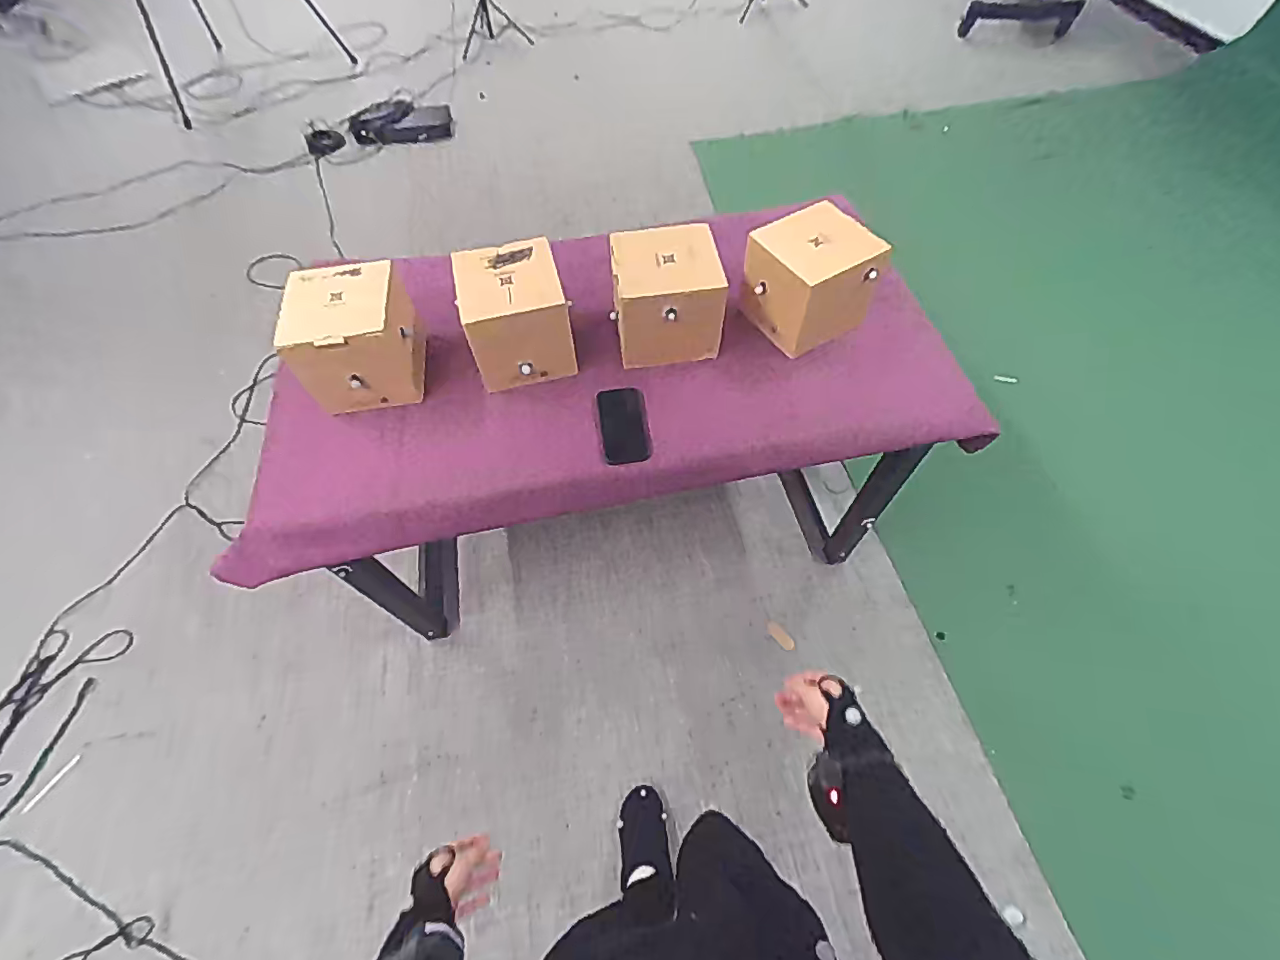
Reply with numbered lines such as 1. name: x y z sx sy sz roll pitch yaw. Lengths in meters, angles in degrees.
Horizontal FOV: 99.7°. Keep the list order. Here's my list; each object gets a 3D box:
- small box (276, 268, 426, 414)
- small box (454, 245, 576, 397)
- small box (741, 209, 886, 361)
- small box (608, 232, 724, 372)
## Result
1. small box: -0.478 -0.229 0.926 0.168 0.176 0.179 -9 59 -4
2. small box: -0.215 -0.274 0.947 0.168 0.176 0.179 -14 60 -6
3. small box: 0.298 -0.347 0.976 0.179 0.176 0.168 -28 61 -15
4. small box: 0.042 -0.310 0.962 0.179 0.176 0.168 -7 59 -3
